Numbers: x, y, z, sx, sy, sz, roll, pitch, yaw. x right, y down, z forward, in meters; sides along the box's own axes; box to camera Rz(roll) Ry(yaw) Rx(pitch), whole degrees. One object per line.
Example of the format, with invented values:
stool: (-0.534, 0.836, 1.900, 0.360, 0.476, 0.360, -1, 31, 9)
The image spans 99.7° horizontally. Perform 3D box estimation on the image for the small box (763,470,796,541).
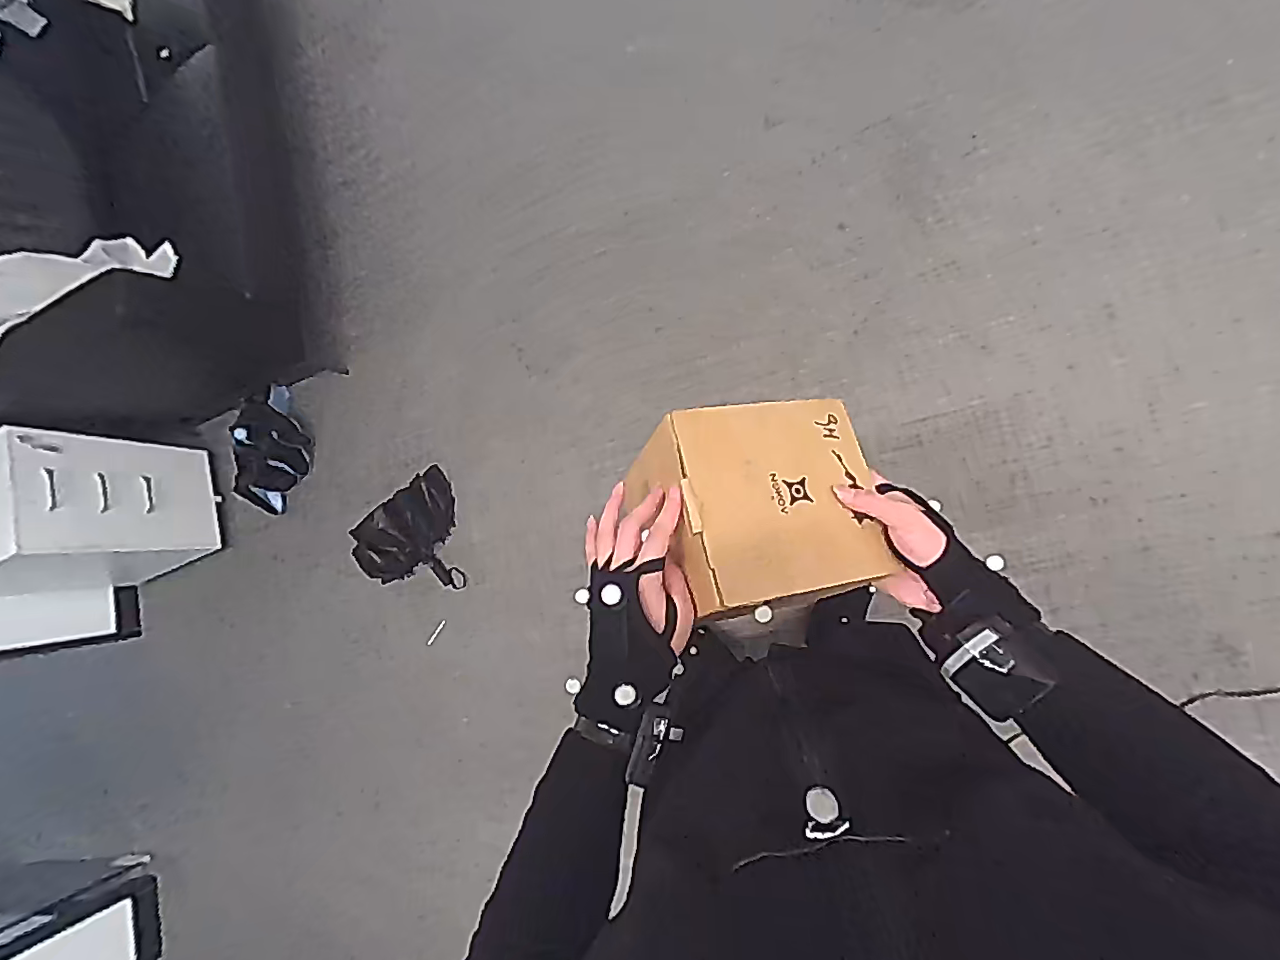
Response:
small box: (0.282, 0.089, 1.363, 0.168, 0.176, 0.179, -20, 80, 19)

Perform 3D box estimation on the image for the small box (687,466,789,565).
small box: (0.223, 0.082, 1.210, 0.168, 0.176, 0.179, -20, 79, 19)
